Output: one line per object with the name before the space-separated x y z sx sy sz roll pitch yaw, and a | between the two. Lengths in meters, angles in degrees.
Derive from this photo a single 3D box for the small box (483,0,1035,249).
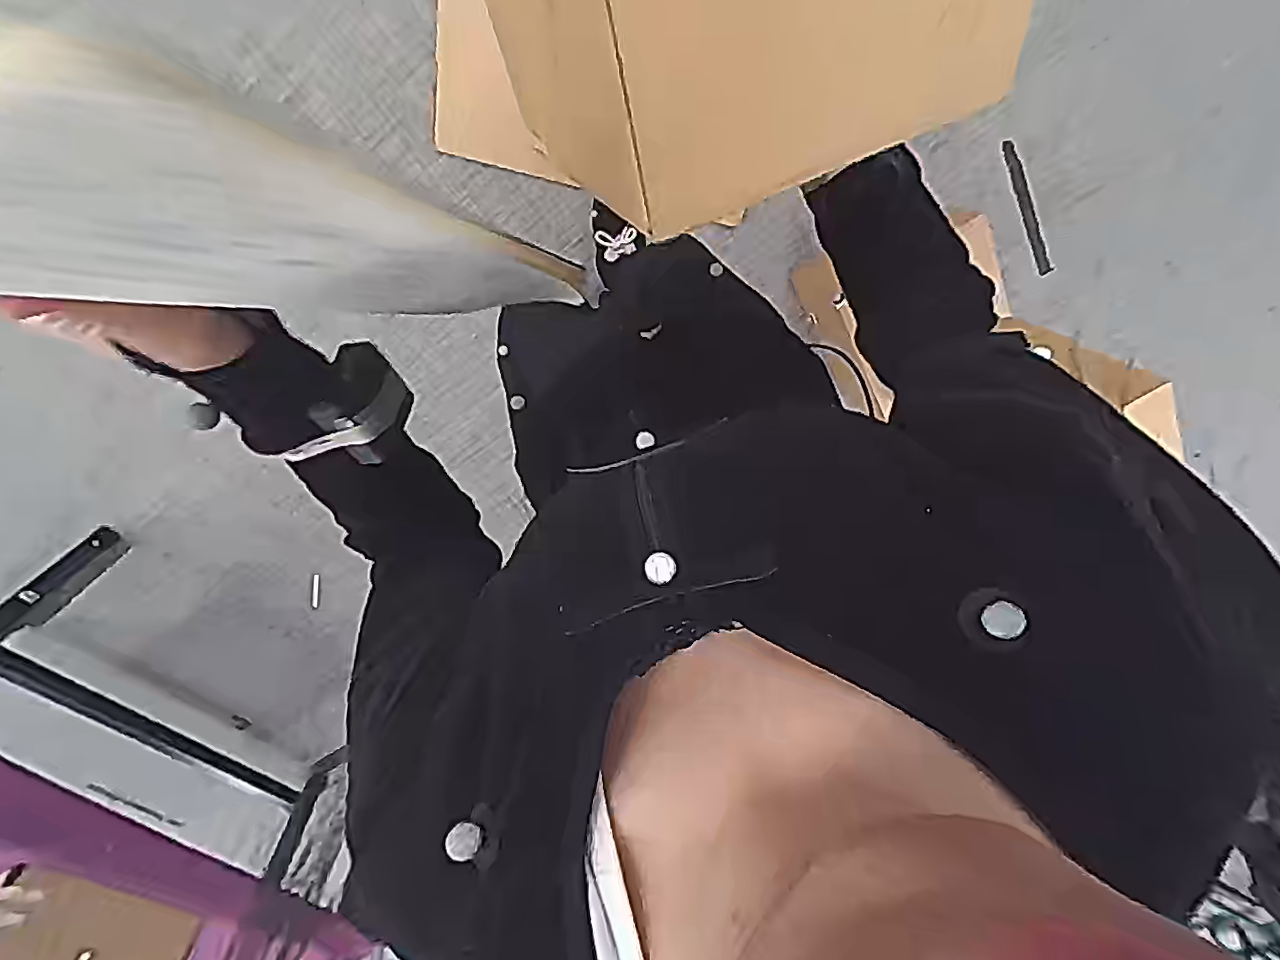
small box | 0.026 -0.224 0.205 0.168 0.176 0.179 -25 135 -7
